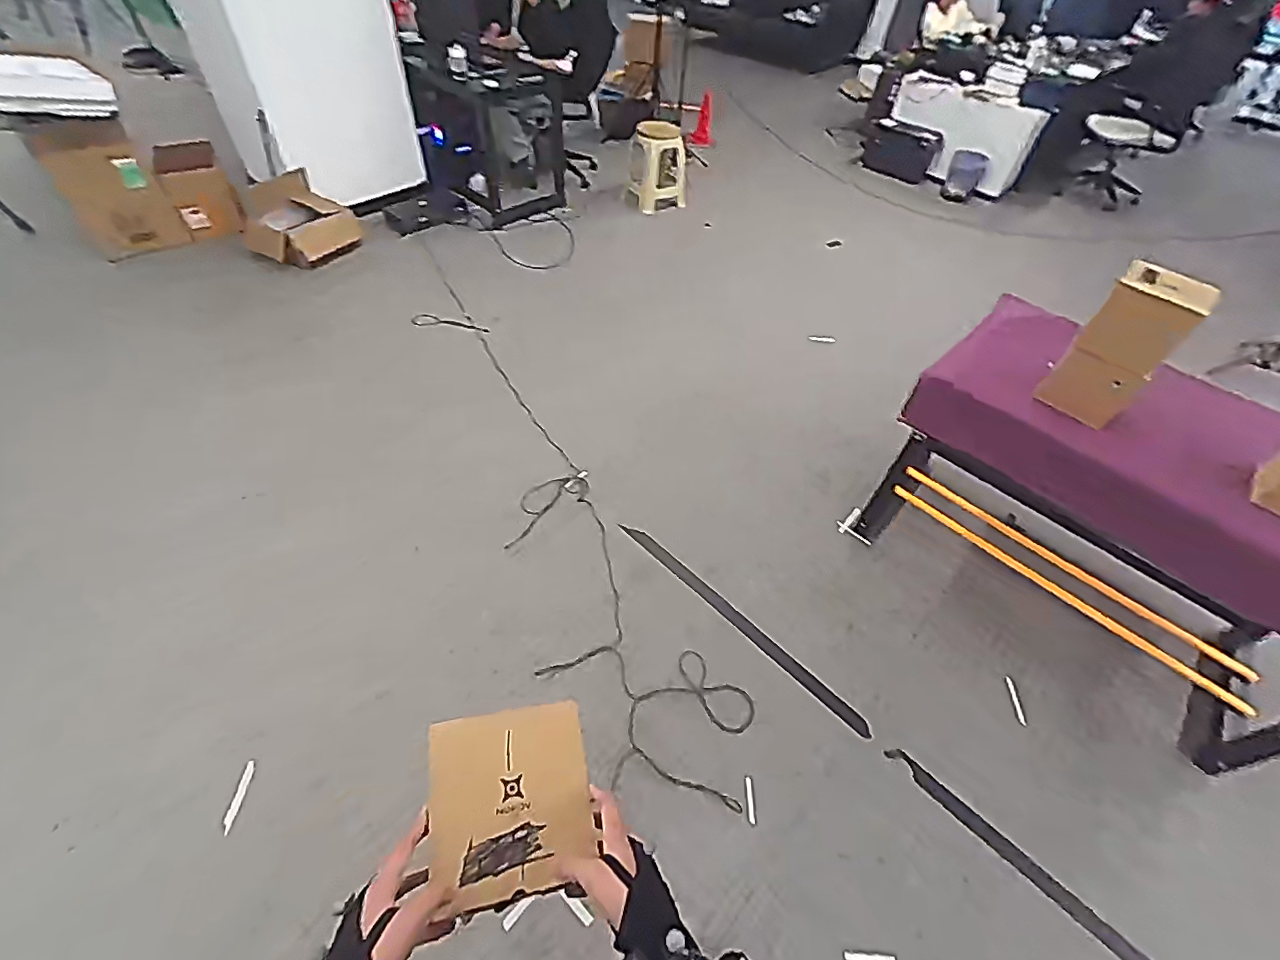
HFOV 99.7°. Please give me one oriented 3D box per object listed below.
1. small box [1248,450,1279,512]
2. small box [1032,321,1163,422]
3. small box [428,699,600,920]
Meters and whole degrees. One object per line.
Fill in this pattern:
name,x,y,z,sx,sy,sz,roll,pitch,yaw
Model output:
small box,1.524,-0.001,1.194,0.168,0.176,0.179,-35,61,-30
small box,1.170,-0.273,1.392,0.168,0.176,0.179,-35,61,-29
small box,-0.151,0.374,0.625,0.168,0.176,0.179,-2,55,-18
